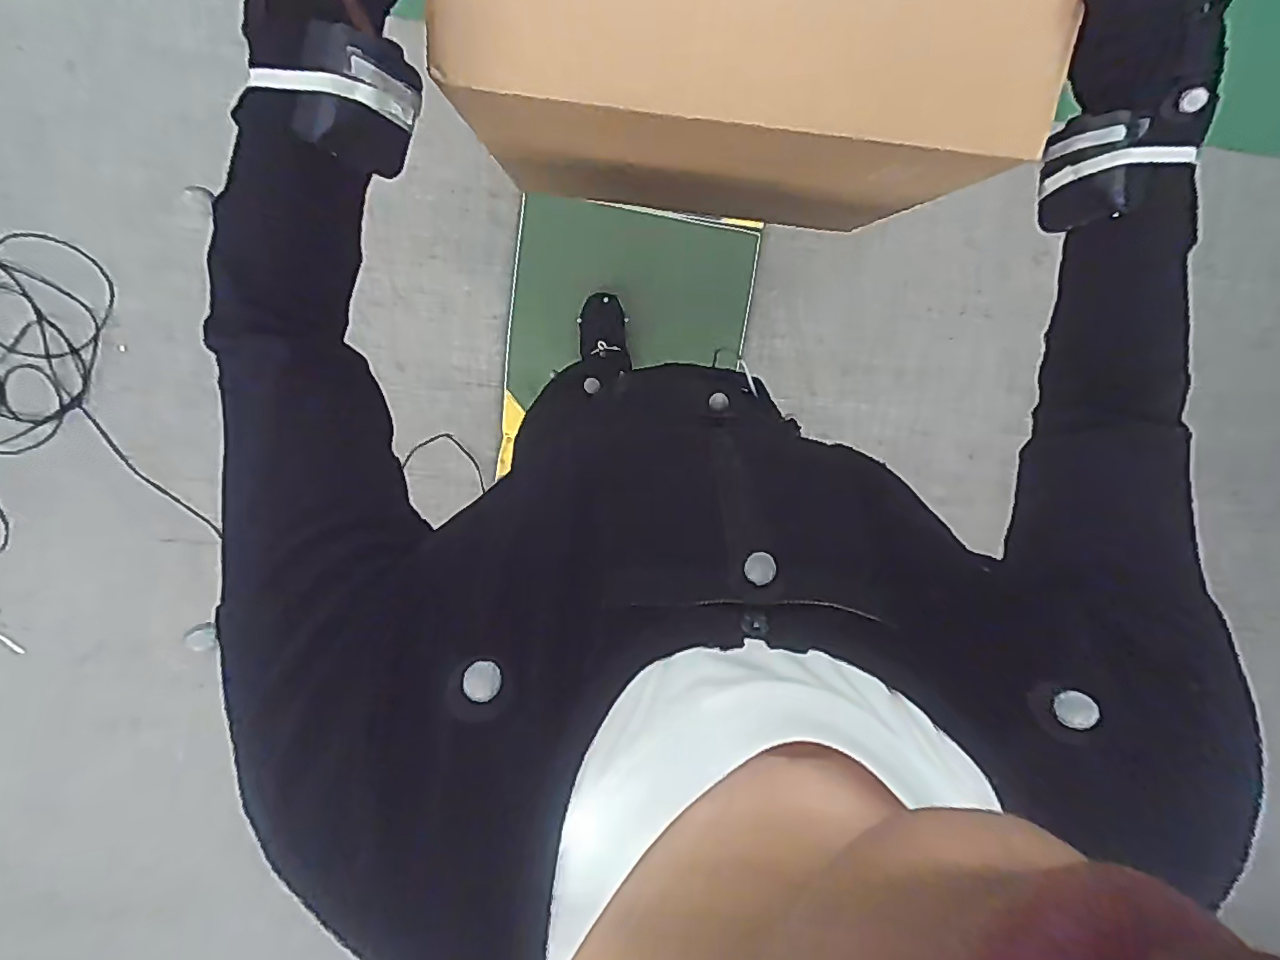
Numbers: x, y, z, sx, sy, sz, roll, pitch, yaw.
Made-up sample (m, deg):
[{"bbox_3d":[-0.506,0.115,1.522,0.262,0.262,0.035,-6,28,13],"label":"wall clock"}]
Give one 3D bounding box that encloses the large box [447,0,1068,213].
[{"bbox_3d":[0.076,-0.436,0.456,0.408,0.320,0.320,4,107,-5],"label":"large box"}]
